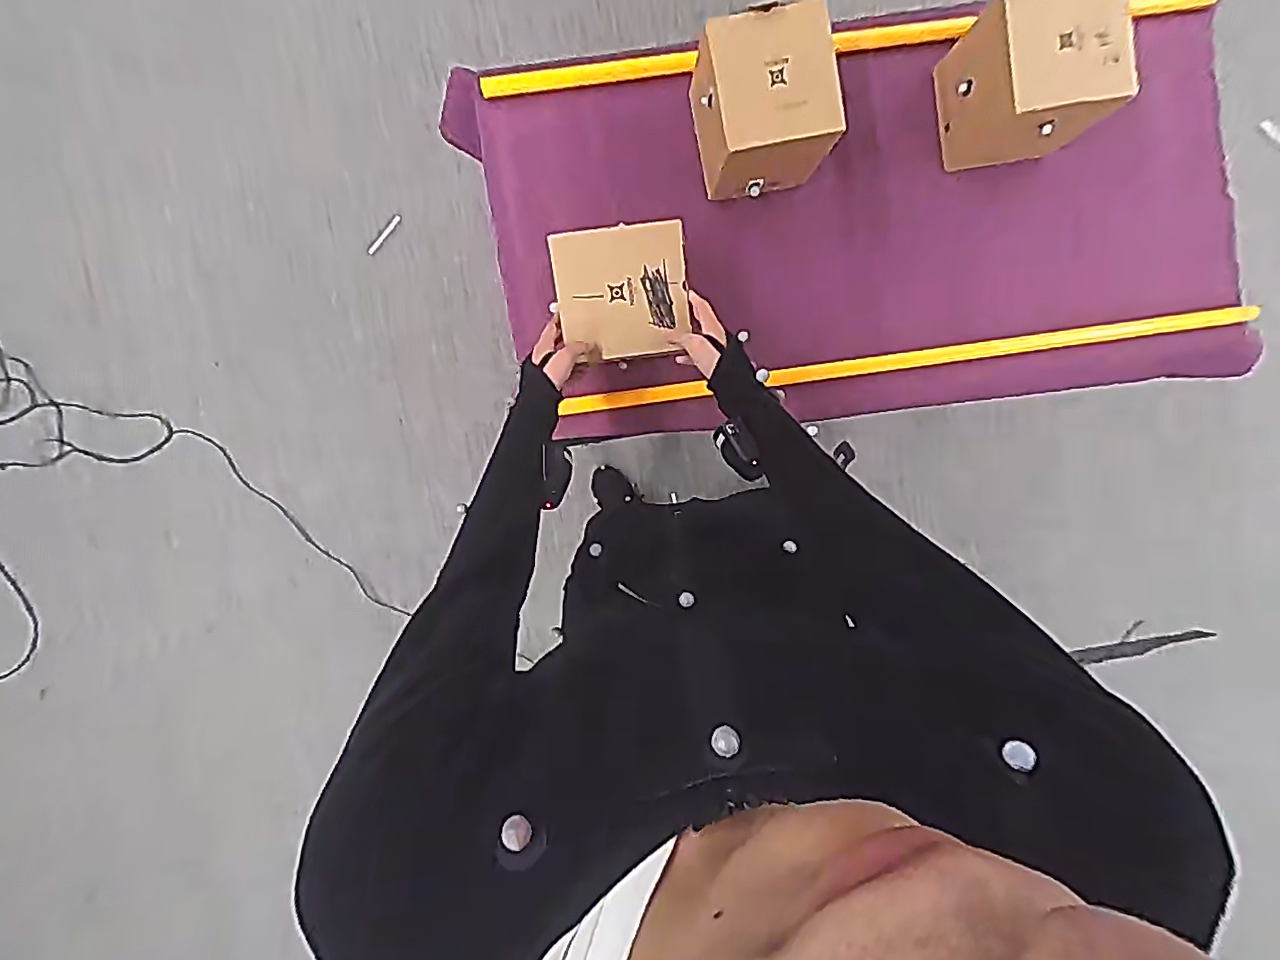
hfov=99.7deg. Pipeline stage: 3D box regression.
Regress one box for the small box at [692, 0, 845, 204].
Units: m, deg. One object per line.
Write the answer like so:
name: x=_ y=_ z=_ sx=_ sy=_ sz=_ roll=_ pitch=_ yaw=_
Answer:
small box: x=0.179 y=-0.544 z=0.801 sx=0.168 sy=0.176 sz=0.179 roll=-11 pitch=94 yaw=-1

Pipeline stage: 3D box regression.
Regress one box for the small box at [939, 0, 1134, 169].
small box: x=0.577 y=-0.596 z=0.812 sx=0.179 sy=0.176 sz=0.168 roll=-9 pitch=95 yaw=-2

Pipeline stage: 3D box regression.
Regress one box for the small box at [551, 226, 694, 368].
small box: x=-0.028 y=-0.256 z=0.789 sx=0.179 sy=0.176 sz=0.168 roll=-8 pitch=101 yaw=-3
